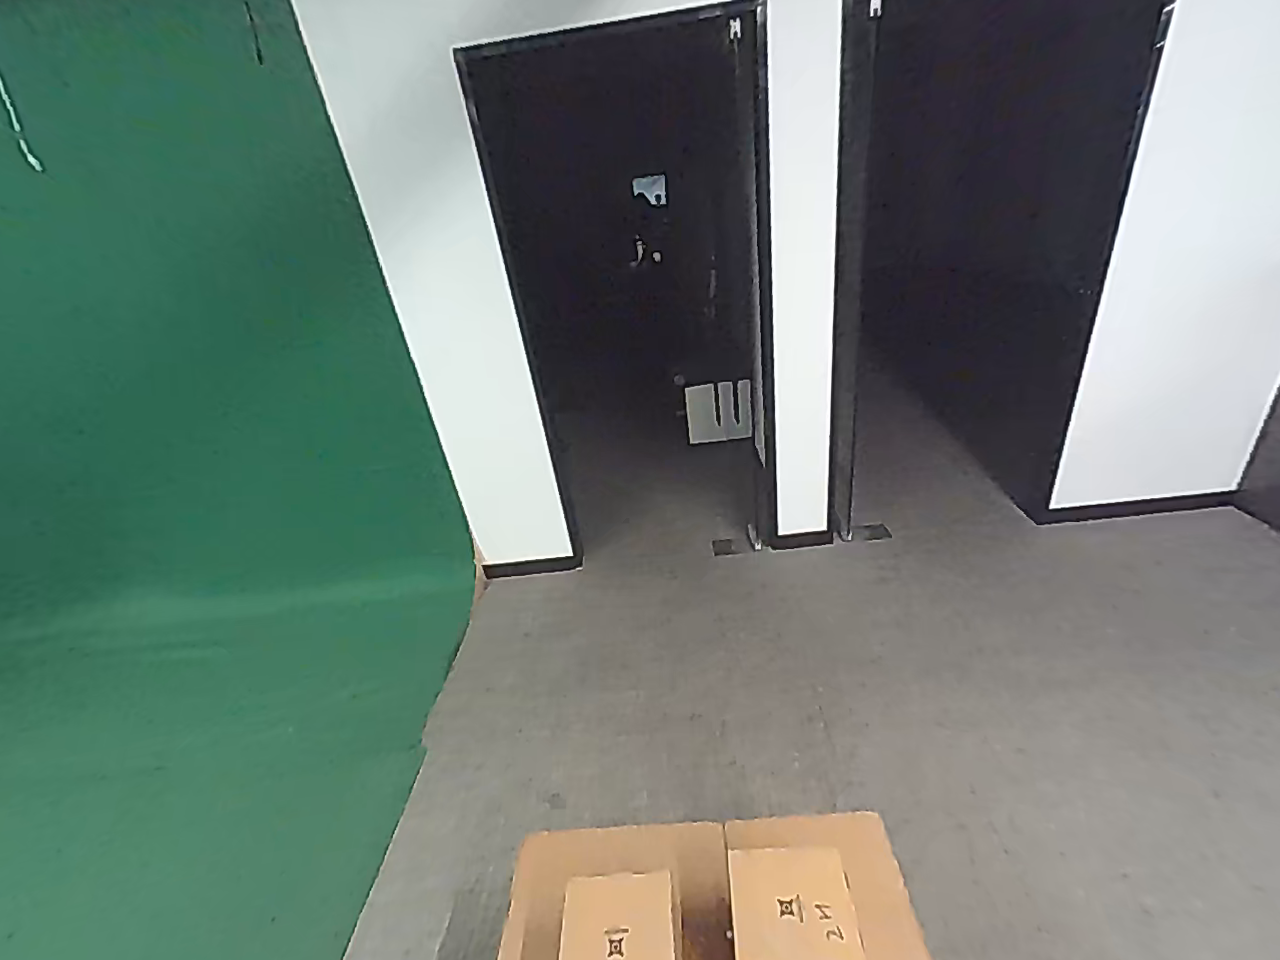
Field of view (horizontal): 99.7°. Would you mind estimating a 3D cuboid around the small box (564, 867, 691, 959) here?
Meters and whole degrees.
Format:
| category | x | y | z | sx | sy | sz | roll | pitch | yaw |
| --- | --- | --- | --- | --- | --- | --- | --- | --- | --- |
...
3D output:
| category | x | y | z | sx | sy | sz | roll | pitch | yaw |
| --- | --- | --- | --- | --- | --- | --- | --- | --- | --- |
| small box | -0.013 | 0.724 | 0.808 | 0.168 | 0.176 | 0.179 | -9 | 26 | 5 |
